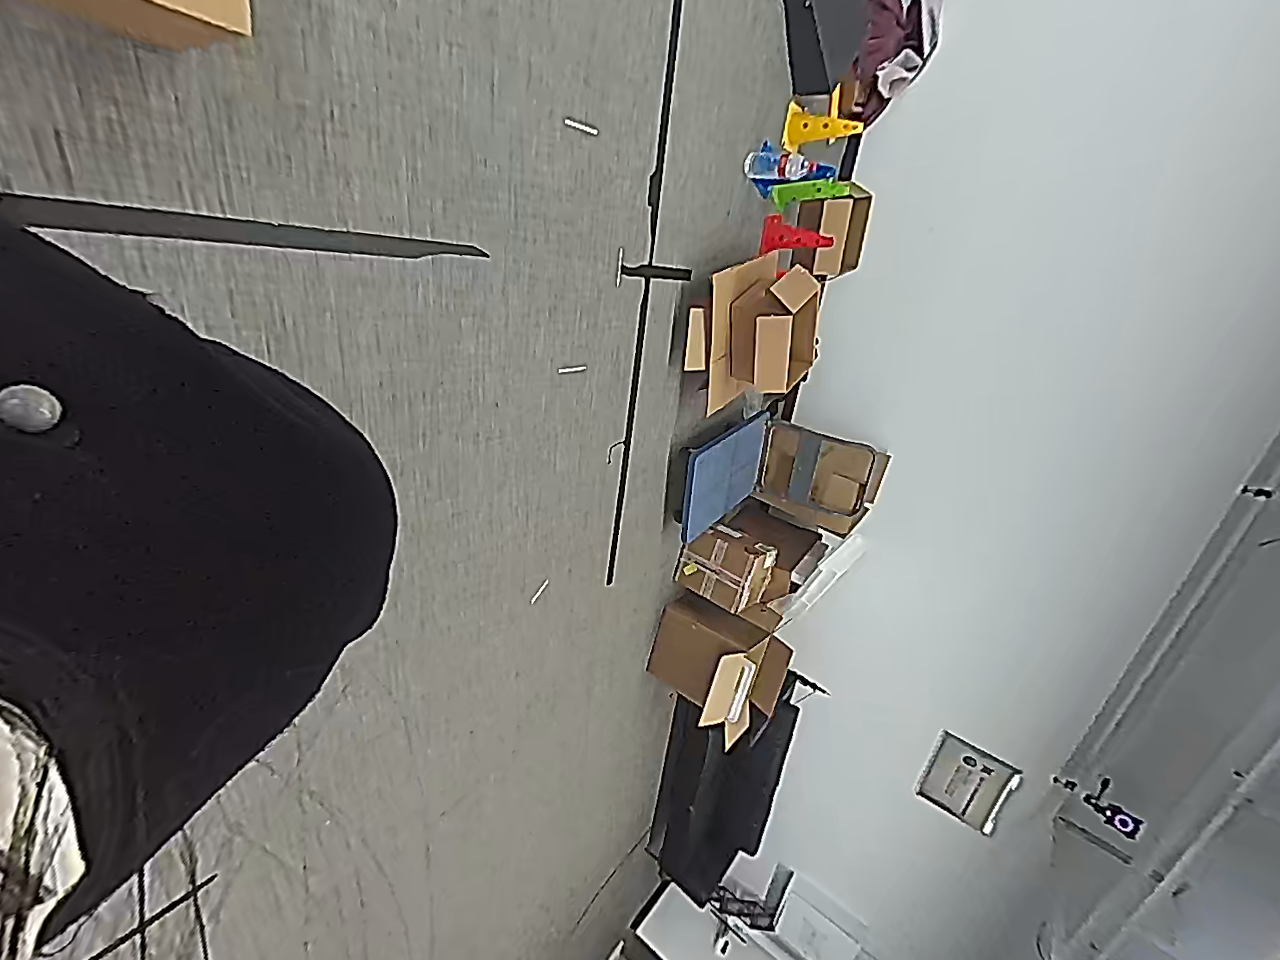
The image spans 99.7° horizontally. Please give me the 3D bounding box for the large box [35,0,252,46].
[{"bbox_3d":[-0.824,-0.847,0.715,0.408,0.320,0.320,-20,126,-51],"label":"large box"}]
